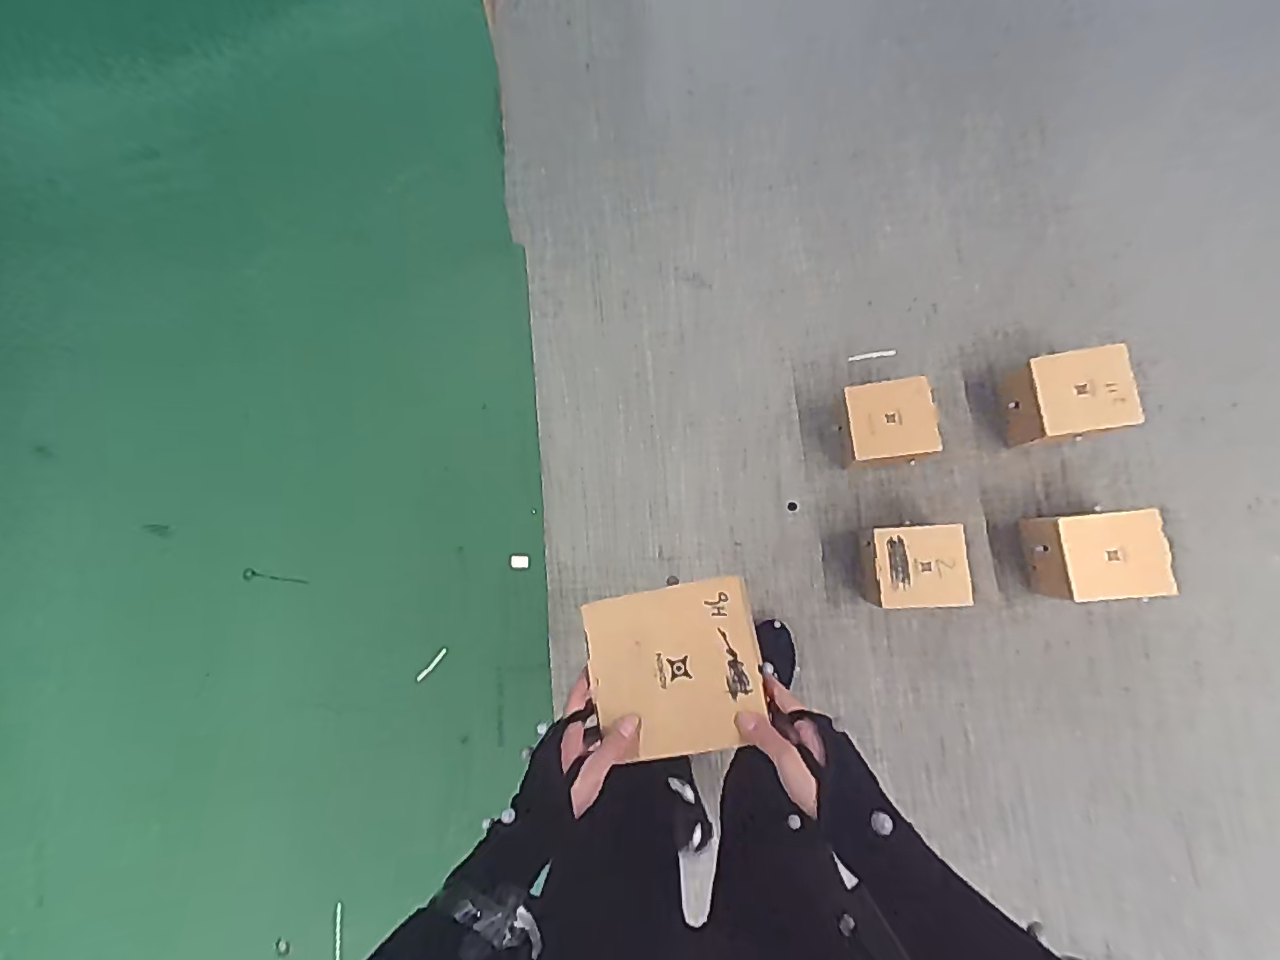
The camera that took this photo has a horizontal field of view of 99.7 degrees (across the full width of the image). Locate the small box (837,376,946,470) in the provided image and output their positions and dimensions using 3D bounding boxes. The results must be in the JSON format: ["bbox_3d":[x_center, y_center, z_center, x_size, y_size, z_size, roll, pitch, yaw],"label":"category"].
[{"bbox_3d":[0.555,-0.121,1.212,0.179,0.176,0.168,-7,81,12],"label":"small box"}]

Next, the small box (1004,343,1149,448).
[{"bbox_3d":[0.902,-0.169,1.142,0.179,0.176,0.168,-8,82,11],"label":"small box"}]

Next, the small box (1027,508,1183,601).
[{"bbox_3d":[0.926,0.153,1.102,0.179,0.176,0.168,-8,82,10],"label":"small box"}]

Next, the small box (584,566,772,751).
[{"bbox_3d":[0.052,0.201,0.631,0.179,0.176,0.168,-12,75,10],"label":"small box"}]
